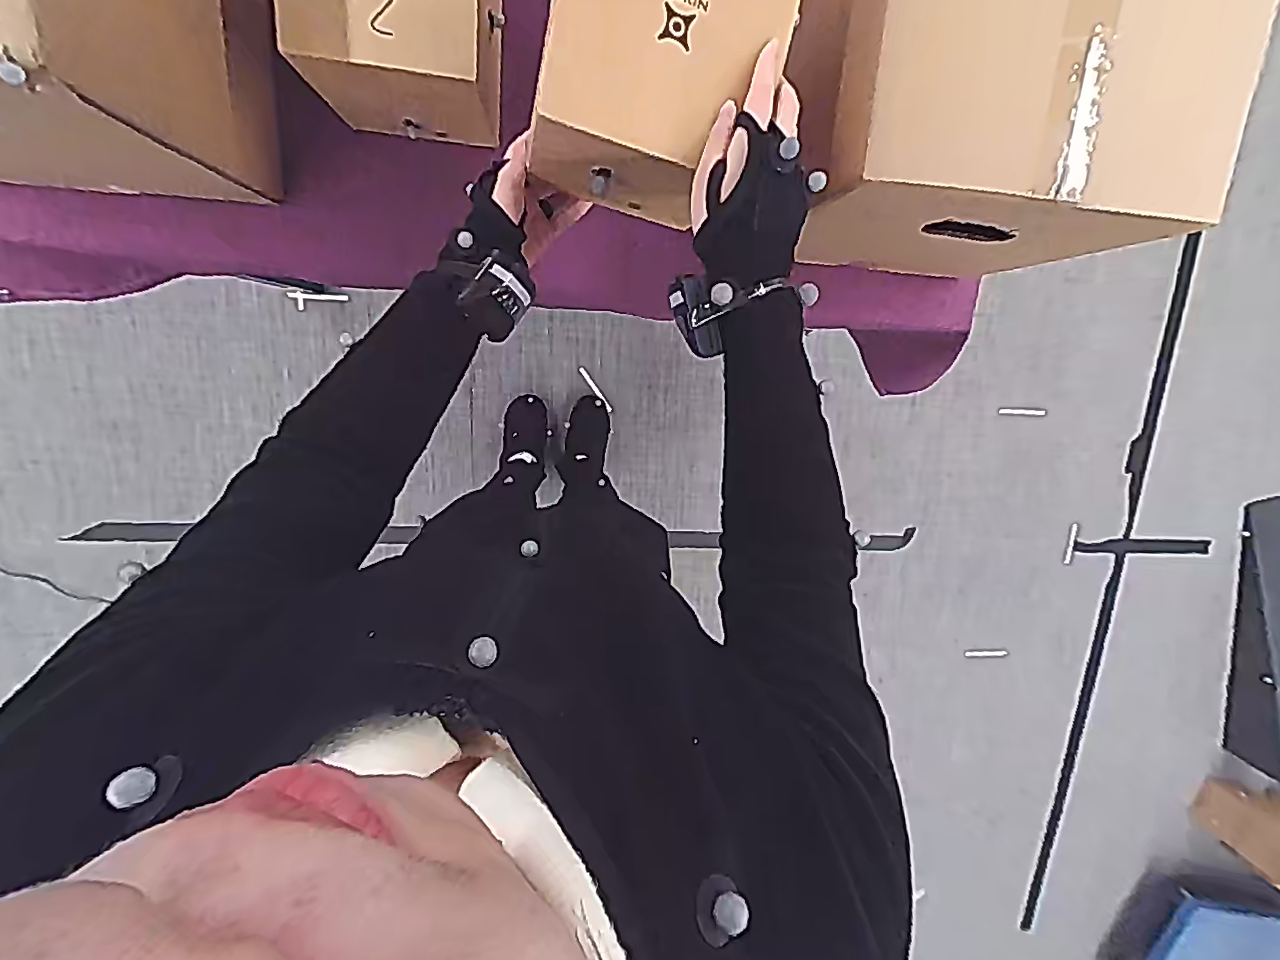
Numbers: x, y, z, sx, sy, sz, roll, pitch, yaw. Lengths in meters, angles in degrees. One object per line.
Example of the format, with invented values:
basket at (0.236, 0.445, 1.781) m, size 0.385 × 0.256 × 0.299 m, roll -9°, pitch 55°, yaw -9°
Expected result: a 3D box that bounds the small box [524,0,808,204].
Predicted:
small box at (0.024, -0.339, 0.404) m, size 0.179 × 0.176 × 0.168 m, roll 6°, pitch 82°, yaw 3°
